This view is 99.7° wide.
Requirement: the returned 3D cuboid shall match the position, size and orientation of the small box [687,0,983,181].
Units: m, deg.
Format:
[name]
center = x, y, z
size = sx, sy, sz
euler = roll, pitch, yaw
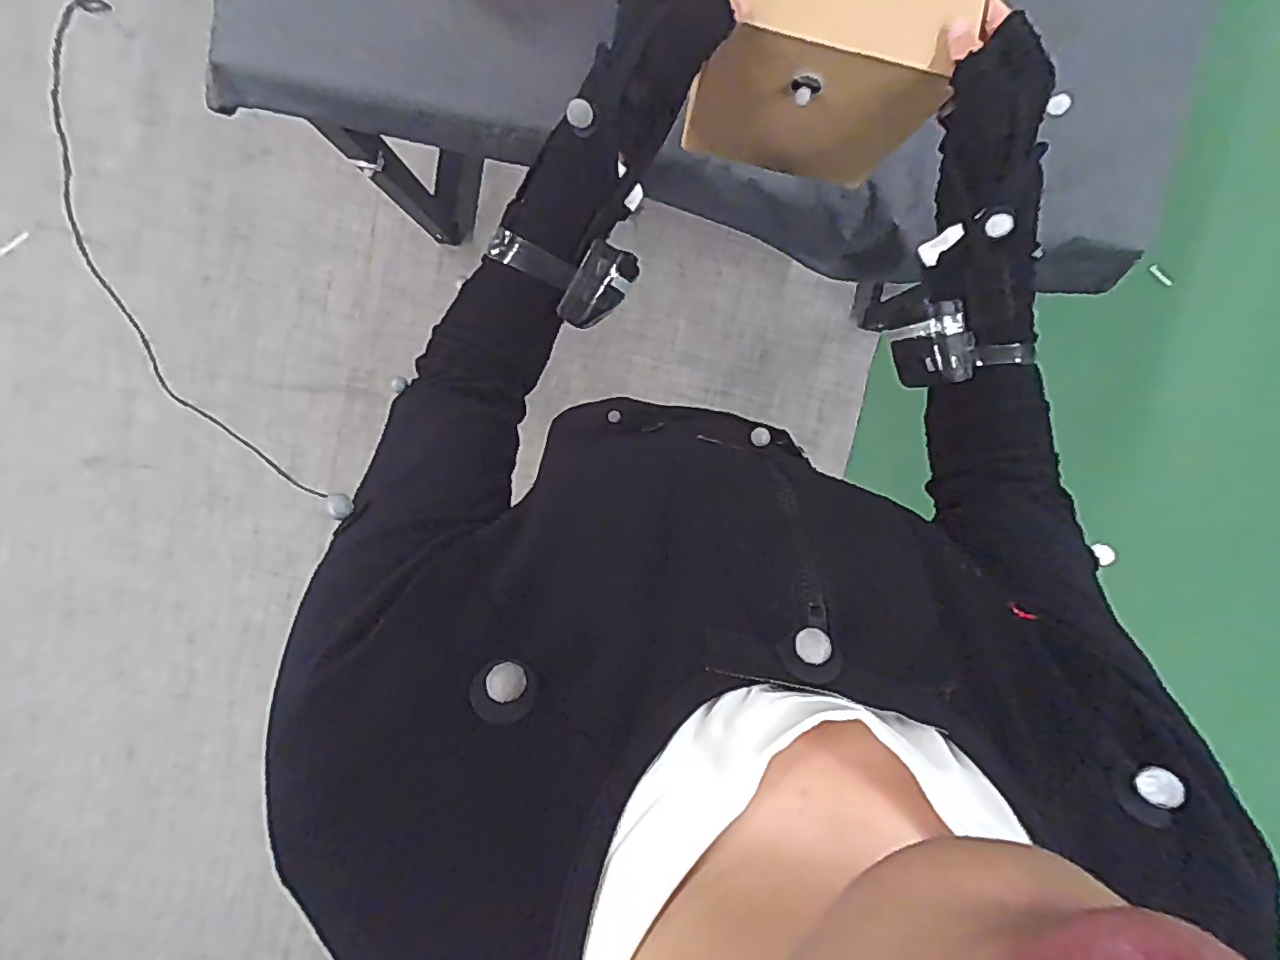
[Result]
[small box]
center = 0.144, -0.369, 0.431
size = 0.179, 0.176, 0.168
euler = 10, 95, -6
